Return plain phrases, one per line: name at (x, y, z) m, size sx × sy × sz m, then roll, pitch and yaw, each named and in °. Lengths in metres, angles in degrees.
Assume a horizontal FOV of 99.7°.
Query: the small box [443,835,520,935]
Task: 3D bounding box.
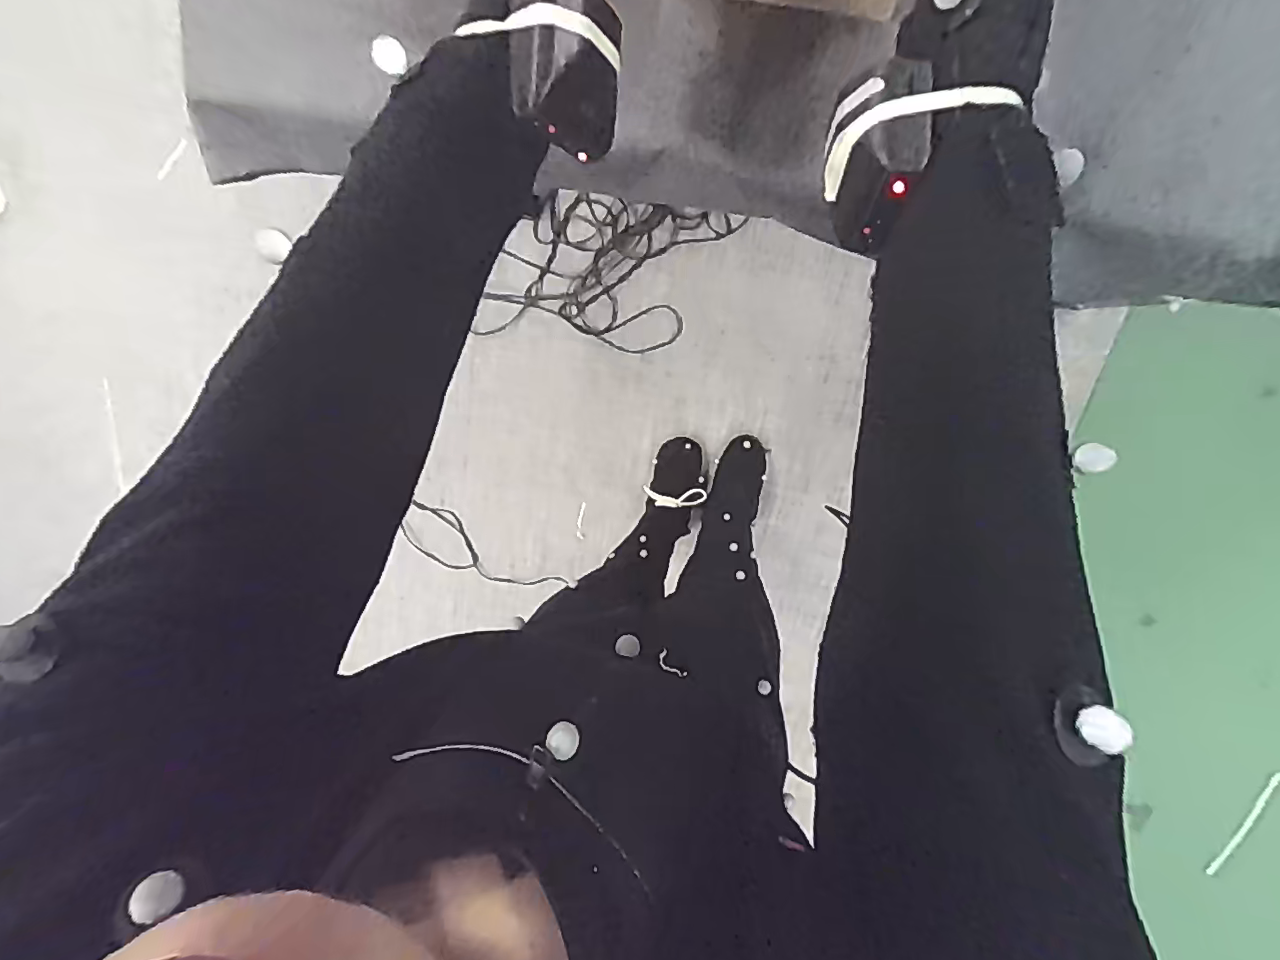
small box at (-0.493, 1.261, 1.696) m, size 0.179 × 0.176 × 0.168 m, roll 13°, pitch 108°, yaw 10°
